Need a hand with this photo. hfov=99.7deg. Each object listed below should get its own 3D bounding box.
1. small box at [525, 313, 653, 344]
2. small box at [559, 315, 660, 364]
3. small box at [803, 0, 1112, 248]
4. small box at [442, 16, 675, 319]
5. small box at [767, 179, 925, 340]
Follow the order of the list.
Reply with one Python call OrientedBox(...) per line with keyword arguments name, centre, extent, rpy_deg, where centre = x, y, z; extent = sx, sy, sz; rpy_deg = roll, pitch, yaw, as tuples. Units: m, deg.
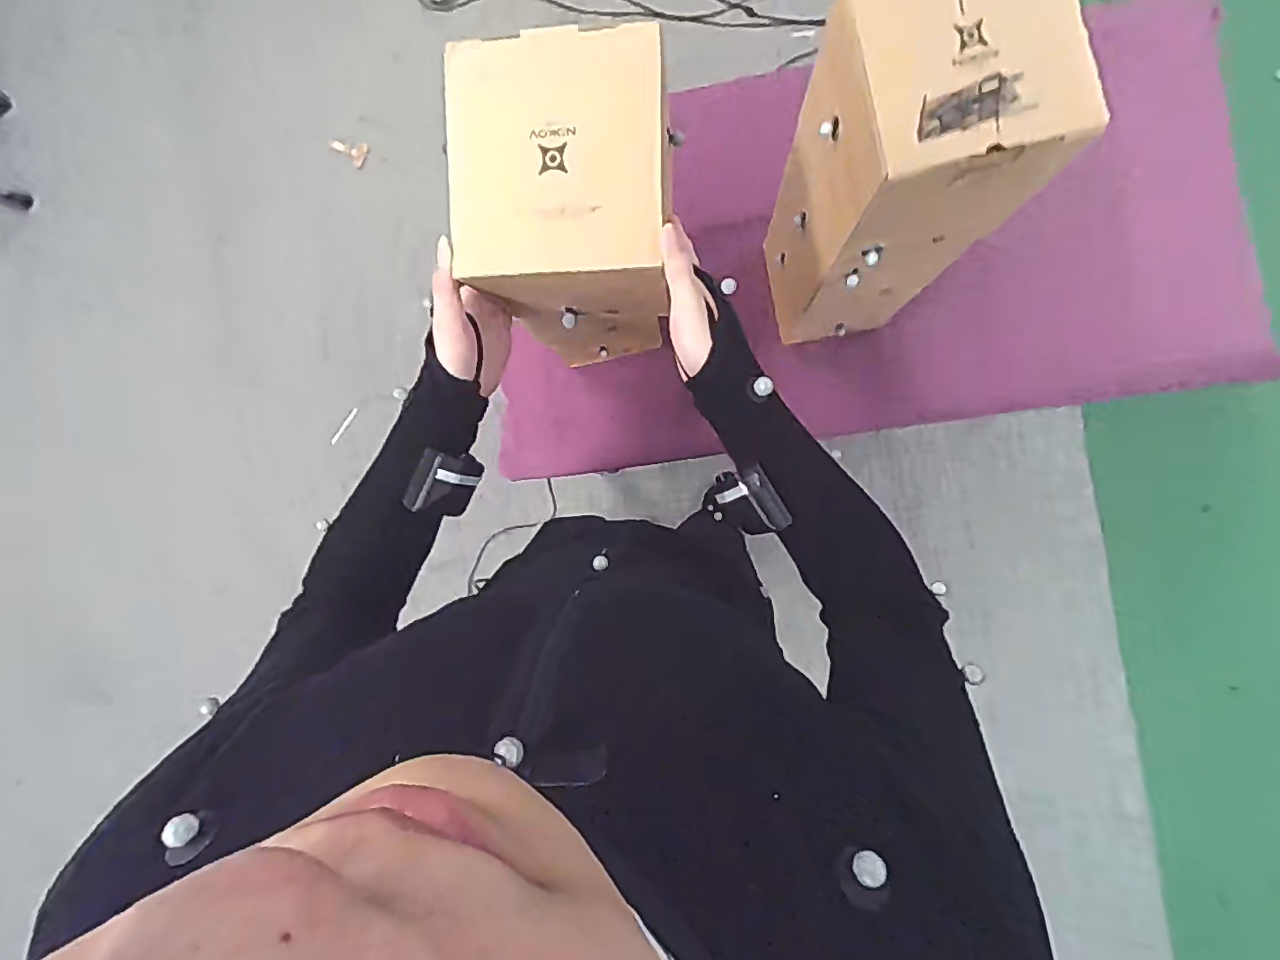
OrientedBox(name="small box", centre=(-0.079, -0.293, 0.684), extent=(0.168, 0.176, 0.179), rpy_deg=(-11, 87, 5))
OrientedBox(name="small box", centre=(-0.066, -0.301, 0.847), extent=(0.168, 0.176, 0.179), rpy_deg=(-13, 88, 4))
OrientedBox(name="small box", centre=(0.258, -0.333, 0.486), extent=(0.168, 0.176, 0.179), rpy_deg=(-11, 86, 5))
OrientedBox(name="small box", centre=(-0.057, -0.249, 0.475), extent=(0.168, 0.176, 0.179), rpy_deg=(0, 95, 7))
OrientedBox(name="small box", centre=(0.295, -0.331, 0.813), extent=(0.168, 0.176, 0.179), rpy_deg=(-10, 87, 5))
